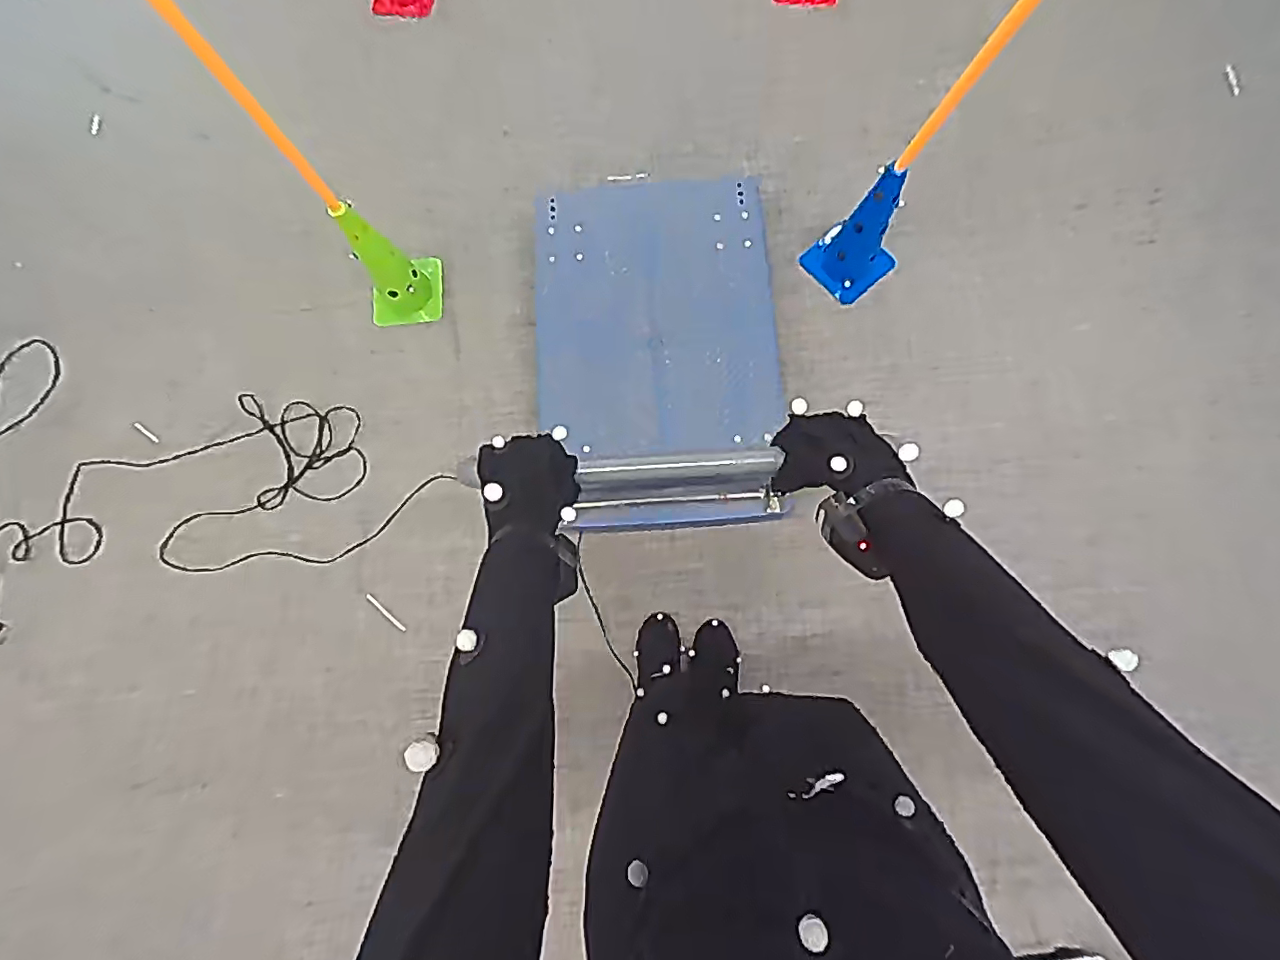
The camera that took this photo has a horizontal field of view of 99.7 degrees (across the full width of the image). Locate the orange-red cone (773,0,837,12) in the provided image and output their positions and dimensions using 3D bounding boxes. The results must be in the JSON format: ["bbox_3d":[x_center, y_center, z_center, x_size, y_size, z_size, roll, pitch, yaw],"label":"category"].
[{"bbox_3d":[0.515,-1.594,1.542,0.198,0.360,0.199,7,80,5],"label":"orange-red cone"}]
